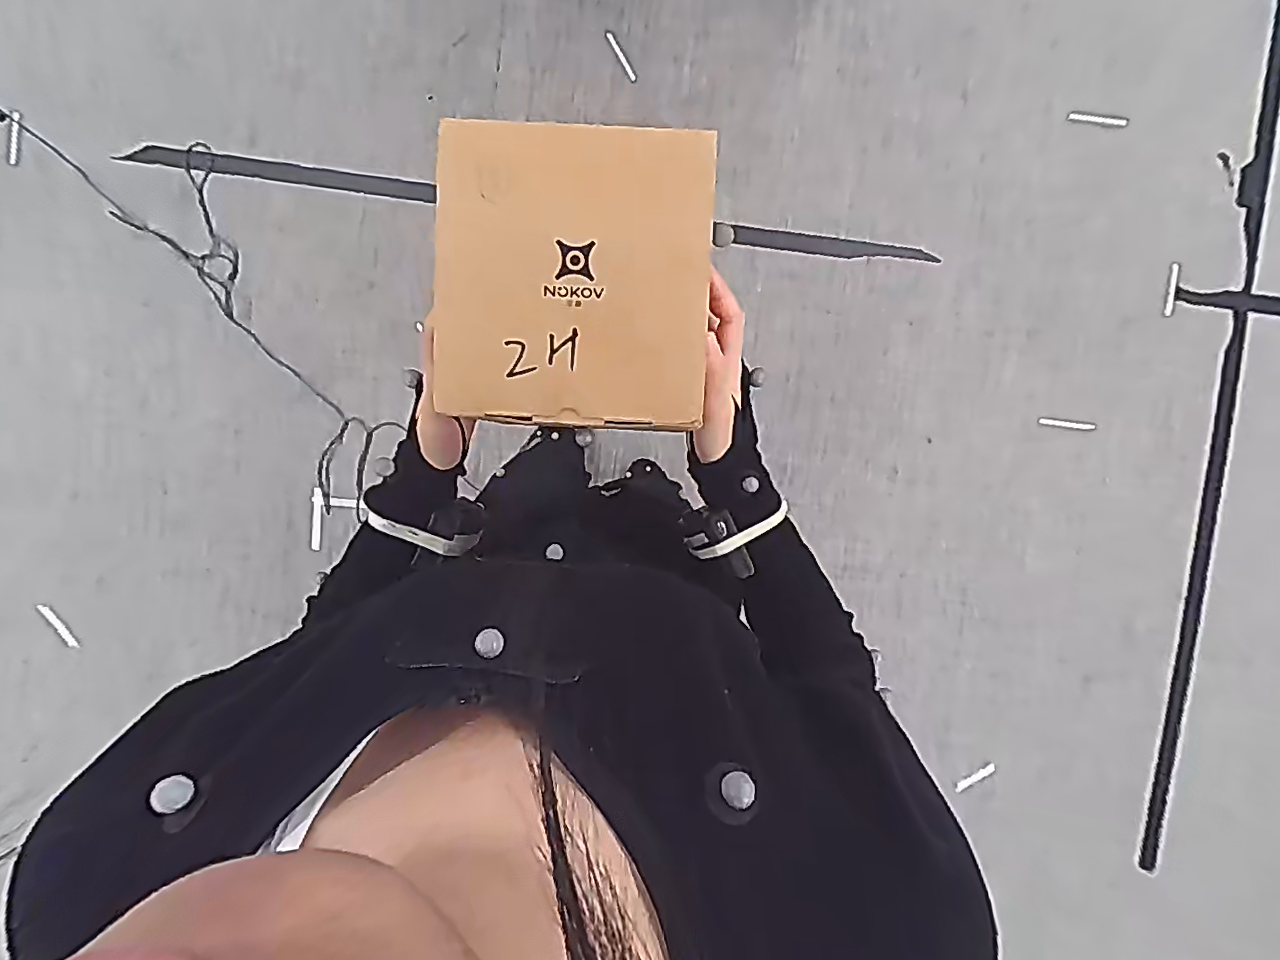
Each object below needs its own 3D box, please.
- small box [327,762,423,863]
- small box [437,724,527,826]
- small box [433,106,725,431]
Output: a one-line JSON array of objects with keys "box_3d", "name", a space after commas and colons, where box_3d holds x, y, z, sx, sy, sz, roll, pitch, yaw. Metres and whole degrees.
[{"box_3d": [-0.696, 0.873, 1.432, 0.179, 0.176, 0.168, 0, 94, -1], "name": "small box"}, {"box_3d": [-0.410, 0.767, 1.424, 0.179, 0.176, 0.168, 8, 93, -2], "name": "small box"}, {"box_3d": [-0.037, -0.130, 0.396, 0.168, 0.176, 0.179, 3, 94, 1], "name": "small box"}]
